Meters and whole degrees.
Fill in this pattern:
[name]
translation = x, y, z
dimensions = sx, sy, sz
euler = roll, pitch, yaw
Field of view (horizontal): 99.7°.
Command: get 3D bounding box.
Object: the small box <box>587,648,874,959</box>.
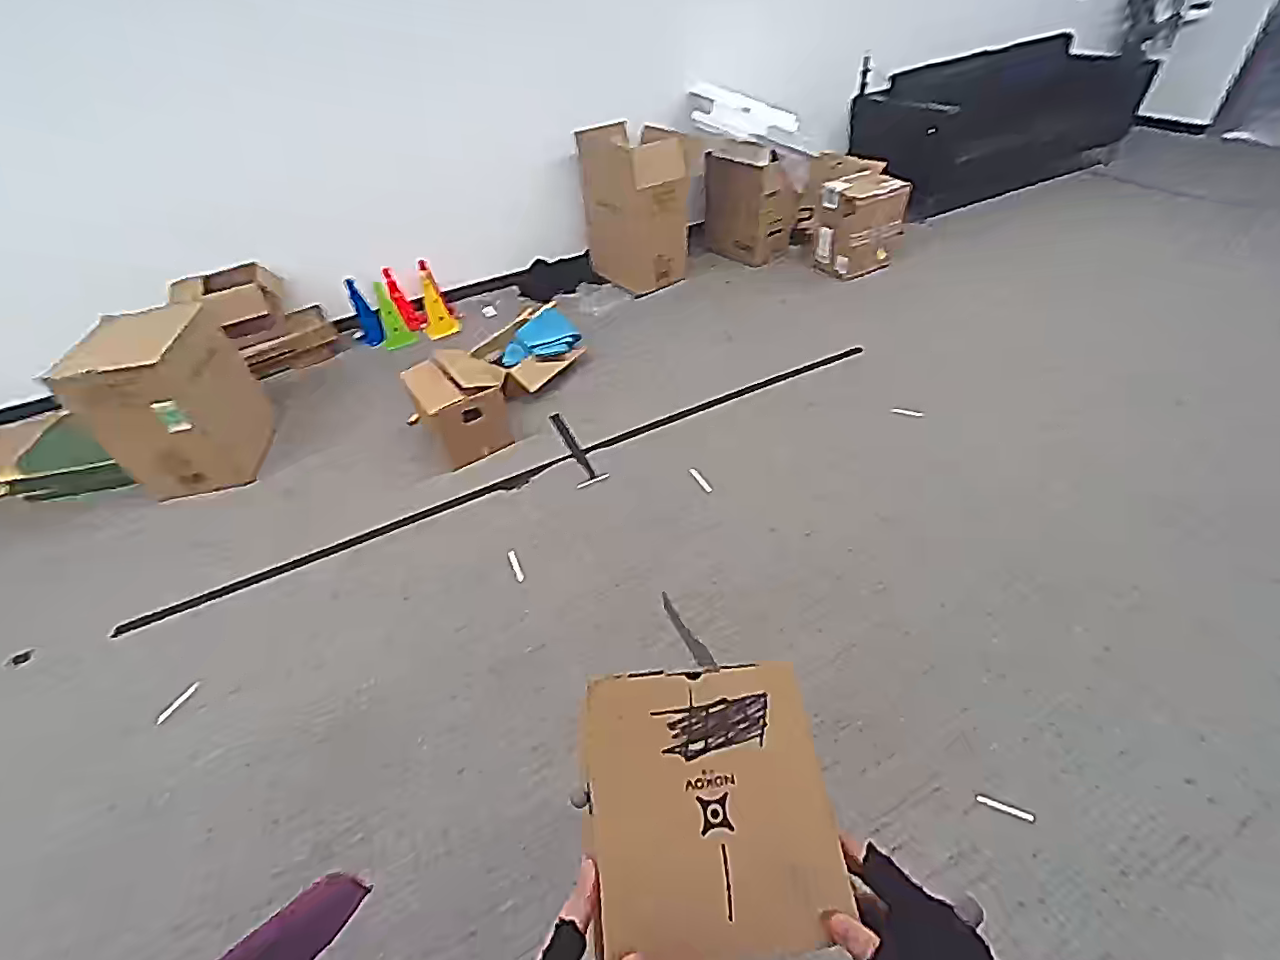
[small box]
translation = 0.047, 0.250, 0.434
dimensions = 0.168, 0.176, 0.179
euler = -1, 57, -10
